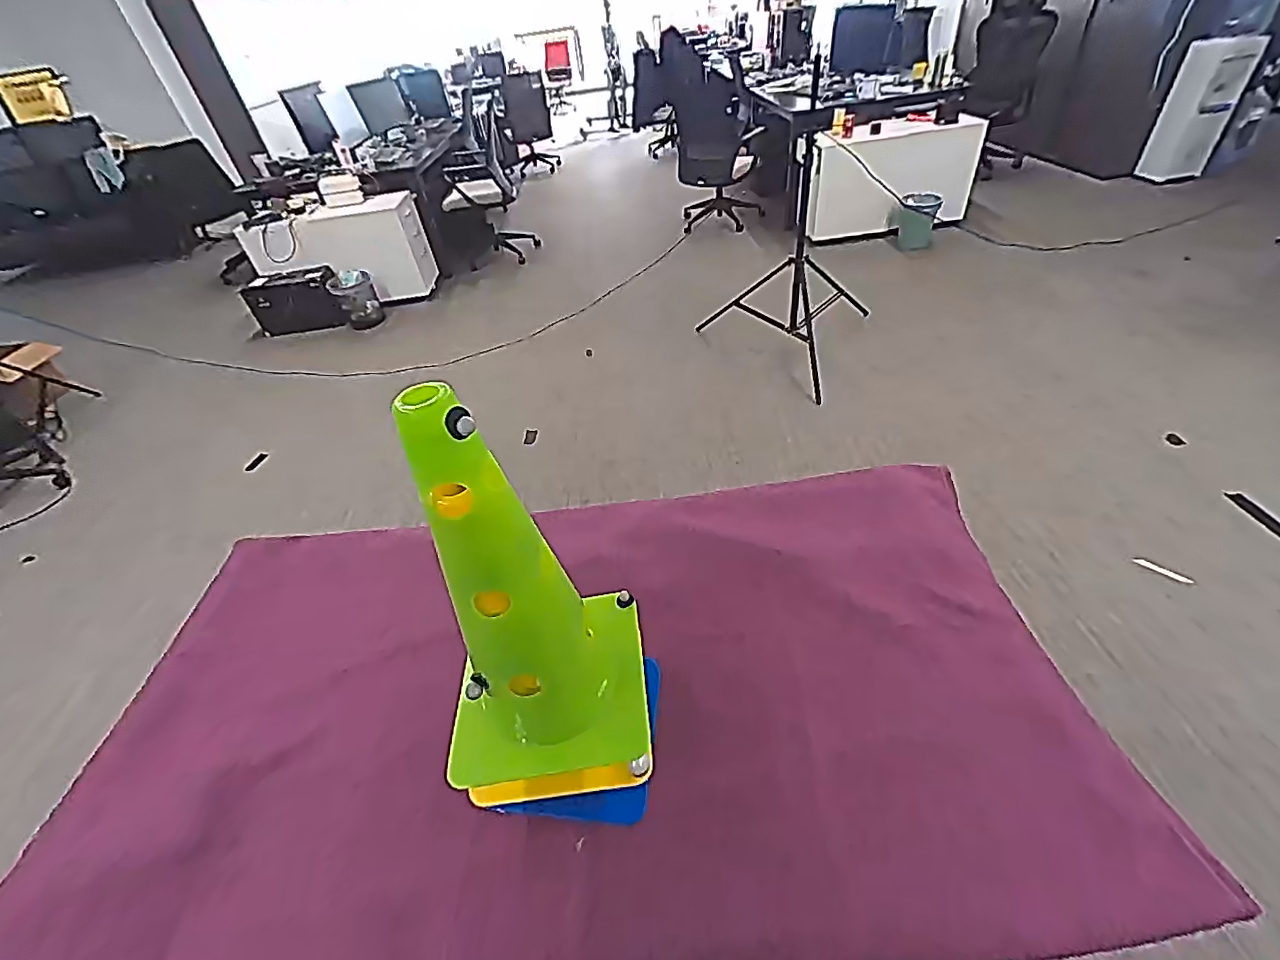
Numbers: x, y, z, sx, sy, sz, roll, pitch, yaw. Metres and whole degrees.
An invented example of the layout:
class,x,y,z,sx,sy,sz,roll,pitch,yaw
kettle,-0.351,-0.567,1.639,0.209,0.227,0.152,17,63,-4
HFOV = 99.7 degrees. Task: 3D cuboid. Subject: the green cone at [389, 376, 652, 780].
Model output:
class,x,y,z,sx,sy,sz,roll,pitch,yaw
green cone,-0.121,0.075,0.470,0.200,0.368,0.202,-11,40,1
